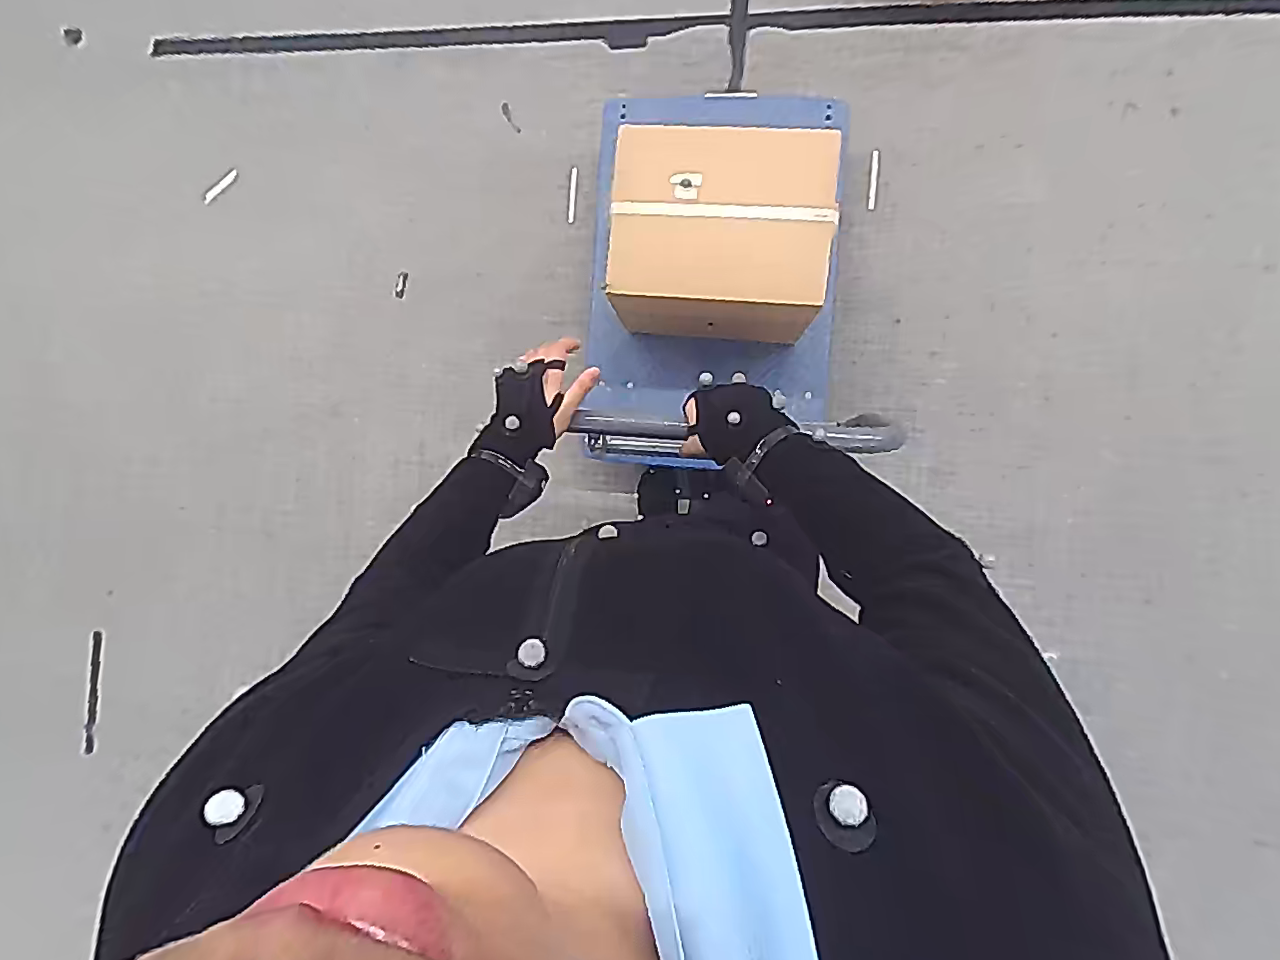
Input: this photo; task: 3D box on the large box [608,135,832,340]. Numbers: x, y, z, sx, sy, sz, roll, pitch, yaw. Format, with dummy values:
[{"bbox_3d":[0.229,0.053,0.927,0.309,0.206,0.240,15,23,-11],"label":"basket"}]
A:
[{"bbox_3d":[0.165,-0.492,1.158,0.408,0.320,0.320,5,91,7],"label":"large box"}]
